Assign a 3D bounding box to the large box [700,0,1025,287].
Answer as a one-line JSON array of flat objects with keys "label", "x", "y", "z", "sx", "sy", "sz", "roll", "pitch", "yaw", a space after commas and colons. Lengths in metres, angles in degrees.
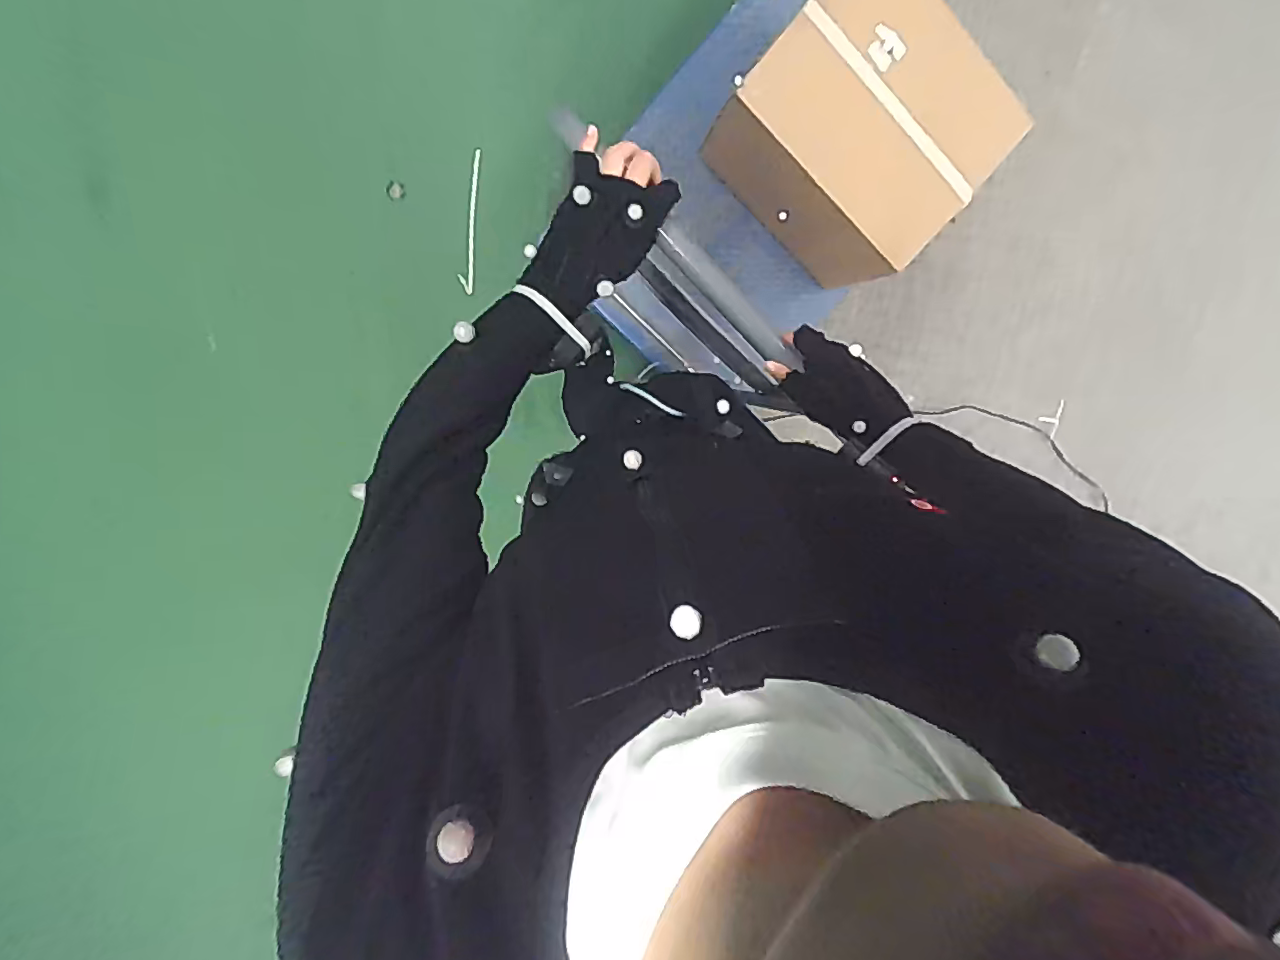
[{"label": "large box", "x": 0.376, "y": -0.626, "z": 1.009, "sx": 0.408, "sy": 0.320, "sz": 0.320, "roll": 41, "pitch": 97, "yaw": -12}]
